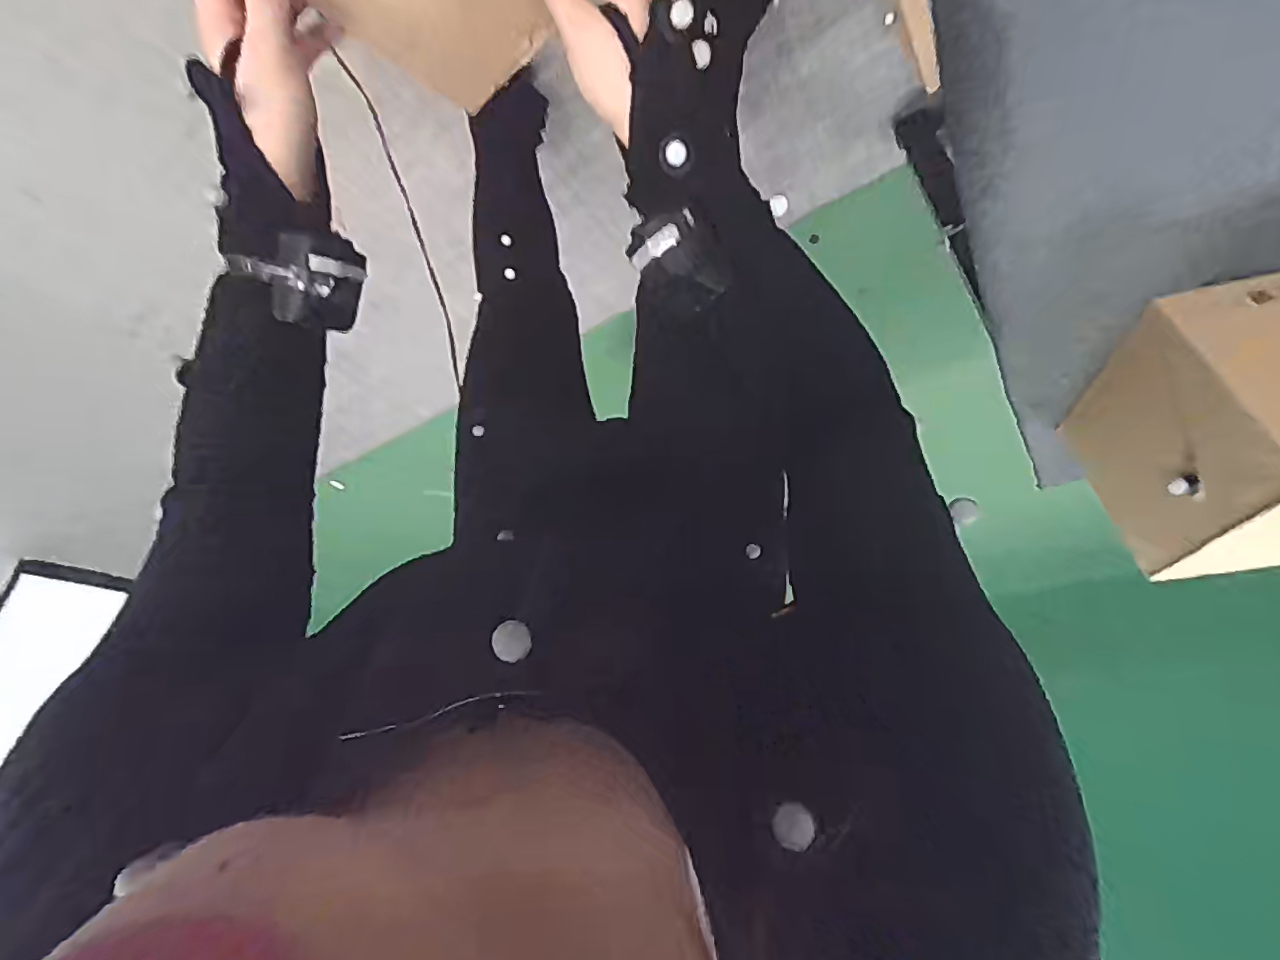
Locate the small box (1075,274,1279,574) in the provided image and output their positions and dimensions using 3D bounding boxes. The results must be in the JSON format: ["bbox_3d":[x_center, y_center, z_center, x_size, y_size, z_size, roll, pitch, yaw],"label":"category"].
[{"bbox_3d":[0.490,-0.045,0.418,0.168,0.176,0.179,-10,149,10],"label":"small box"}]

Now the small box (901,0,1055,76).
[{"bbox_3d":[0.444,-0.712,0.723,0.179,0.176,0.168,-22,146,33],"label":"small box"}]
